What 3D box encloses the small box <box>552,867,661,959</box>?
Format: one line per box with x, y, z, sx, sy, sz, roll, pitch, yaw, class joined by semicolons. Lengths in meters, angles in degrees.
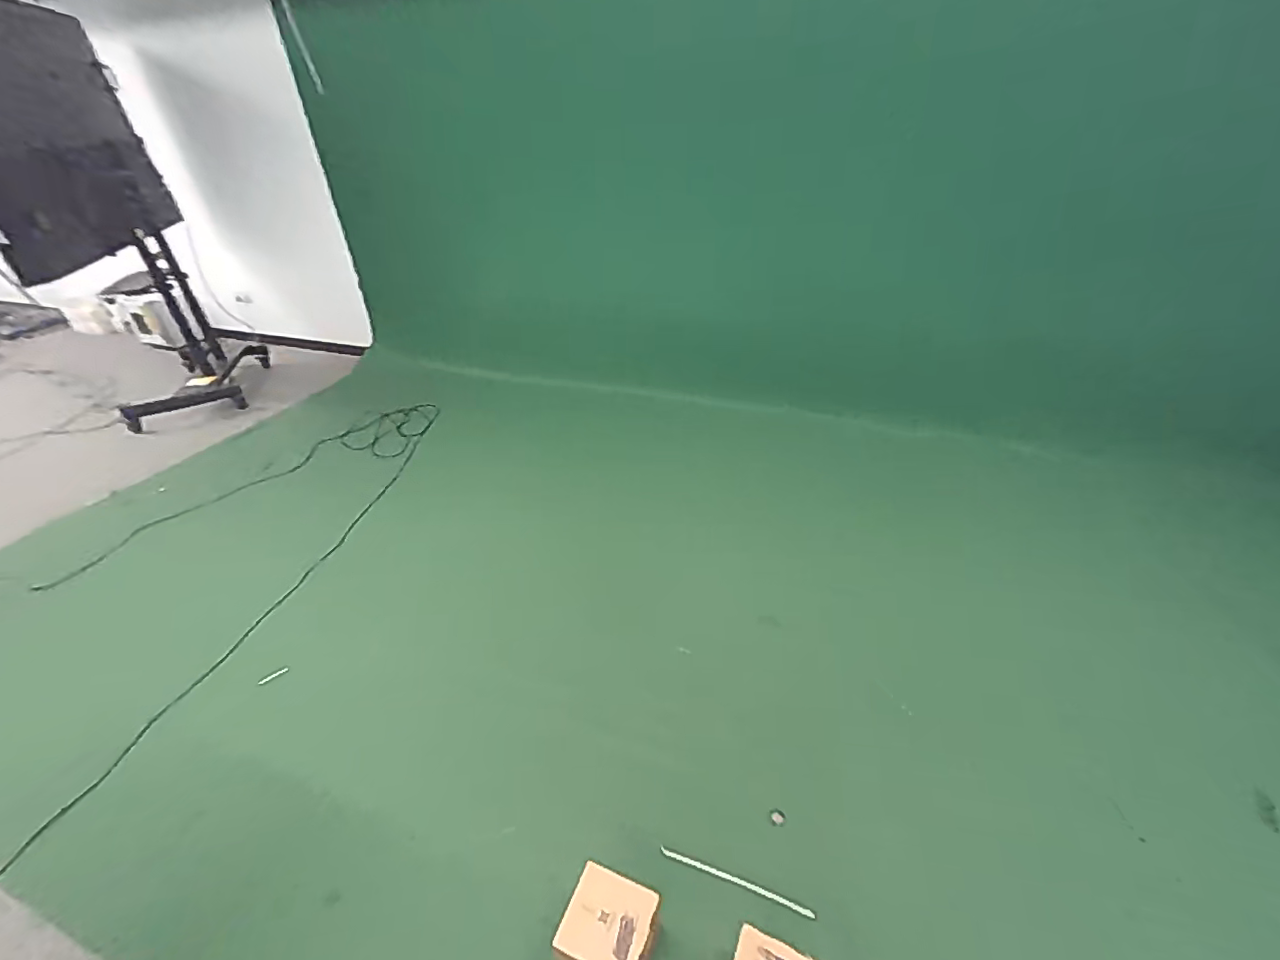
-0.062;0.985;1.158;0.179;0.176;0.168;11;36;21;small box
